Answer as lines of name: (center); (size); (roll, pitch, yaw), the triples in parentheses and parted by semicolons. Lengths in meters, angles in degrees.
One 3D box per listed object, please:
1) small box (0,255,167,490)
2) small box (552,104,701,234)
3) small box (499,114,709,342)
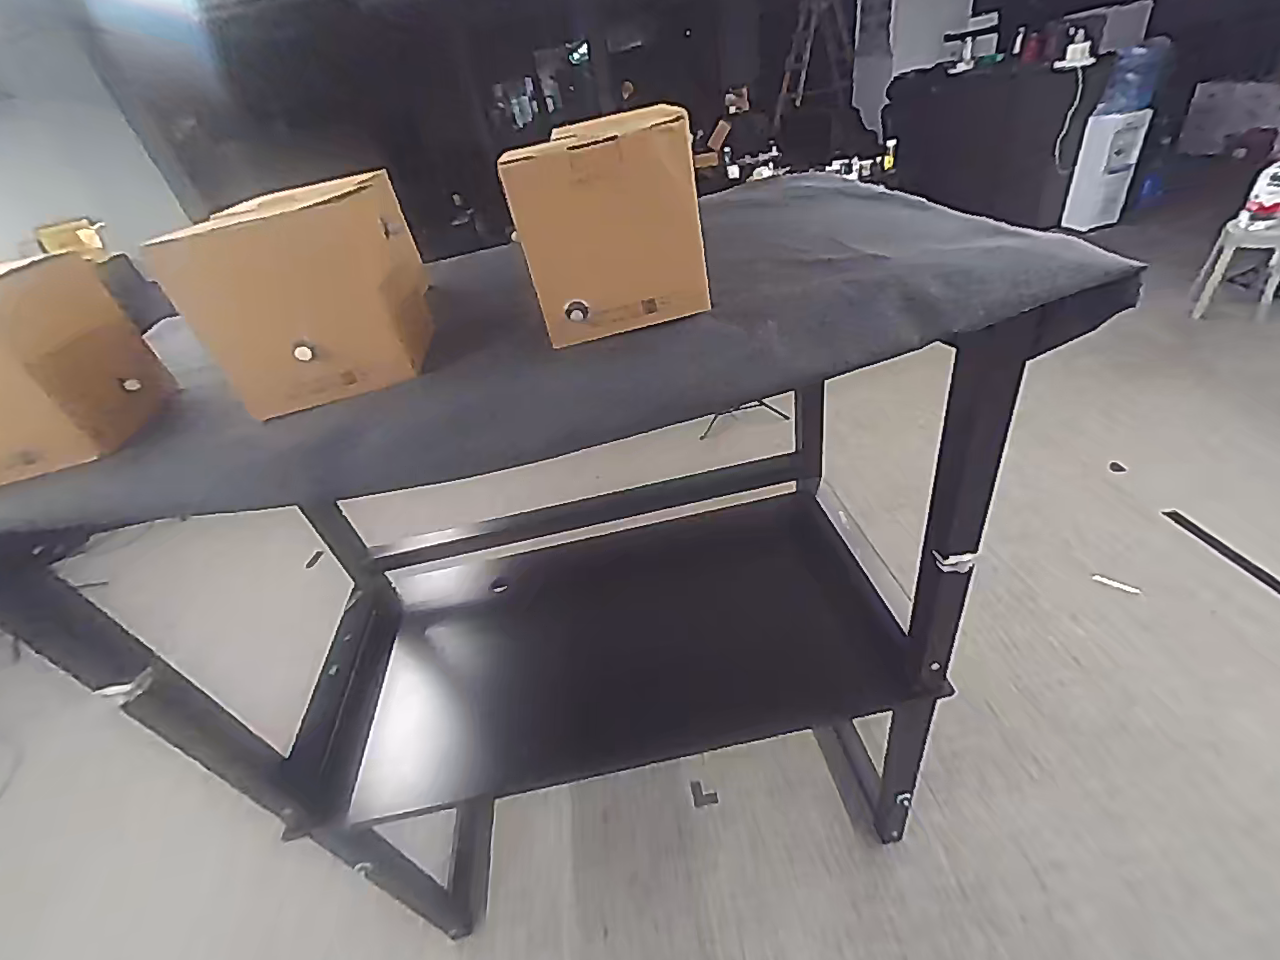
small box: (-0.636, -0.103, 0.540); (0.168, 0.176, 0.179); (-17, 37, -5)
small box: (-0.018, -0.396, 0.739); (0.168, 0.176, 0.179); (-13, 38, 1)
small box: (-0.034, -0.257, 0.558); (0.168, 0.176, 0.179); (-14, 35, 0)
